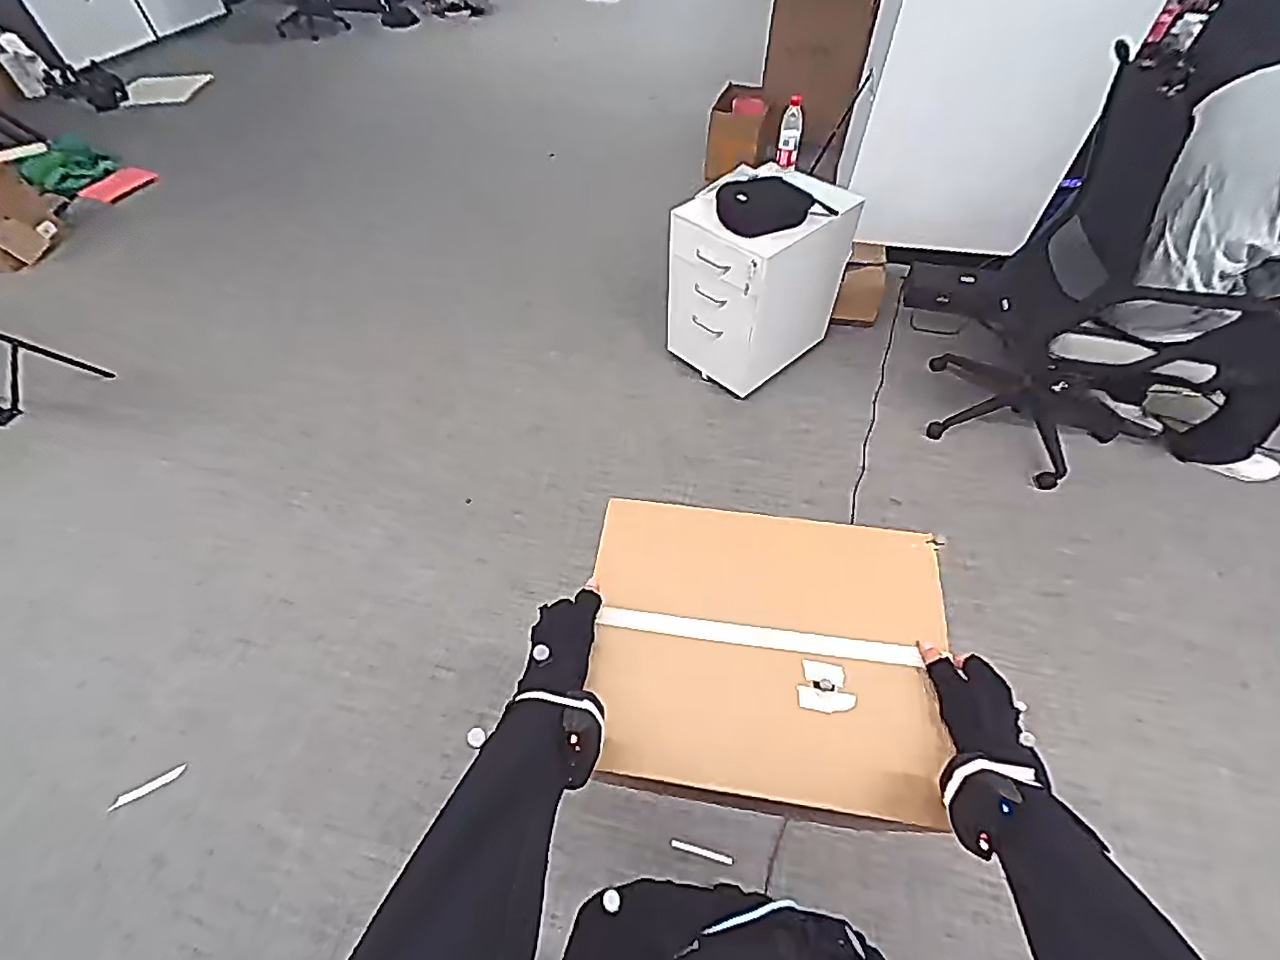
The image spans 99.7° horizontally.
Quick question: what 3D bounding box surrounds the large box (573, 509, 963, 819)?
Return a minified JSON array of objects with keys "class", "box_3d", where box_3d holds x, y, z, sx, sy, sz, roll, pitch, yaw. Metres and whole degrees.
[{"class":"large box","box_3d":[0.146,0.263,0.751,0.408,0.320,0.320,6,60,6]}]
